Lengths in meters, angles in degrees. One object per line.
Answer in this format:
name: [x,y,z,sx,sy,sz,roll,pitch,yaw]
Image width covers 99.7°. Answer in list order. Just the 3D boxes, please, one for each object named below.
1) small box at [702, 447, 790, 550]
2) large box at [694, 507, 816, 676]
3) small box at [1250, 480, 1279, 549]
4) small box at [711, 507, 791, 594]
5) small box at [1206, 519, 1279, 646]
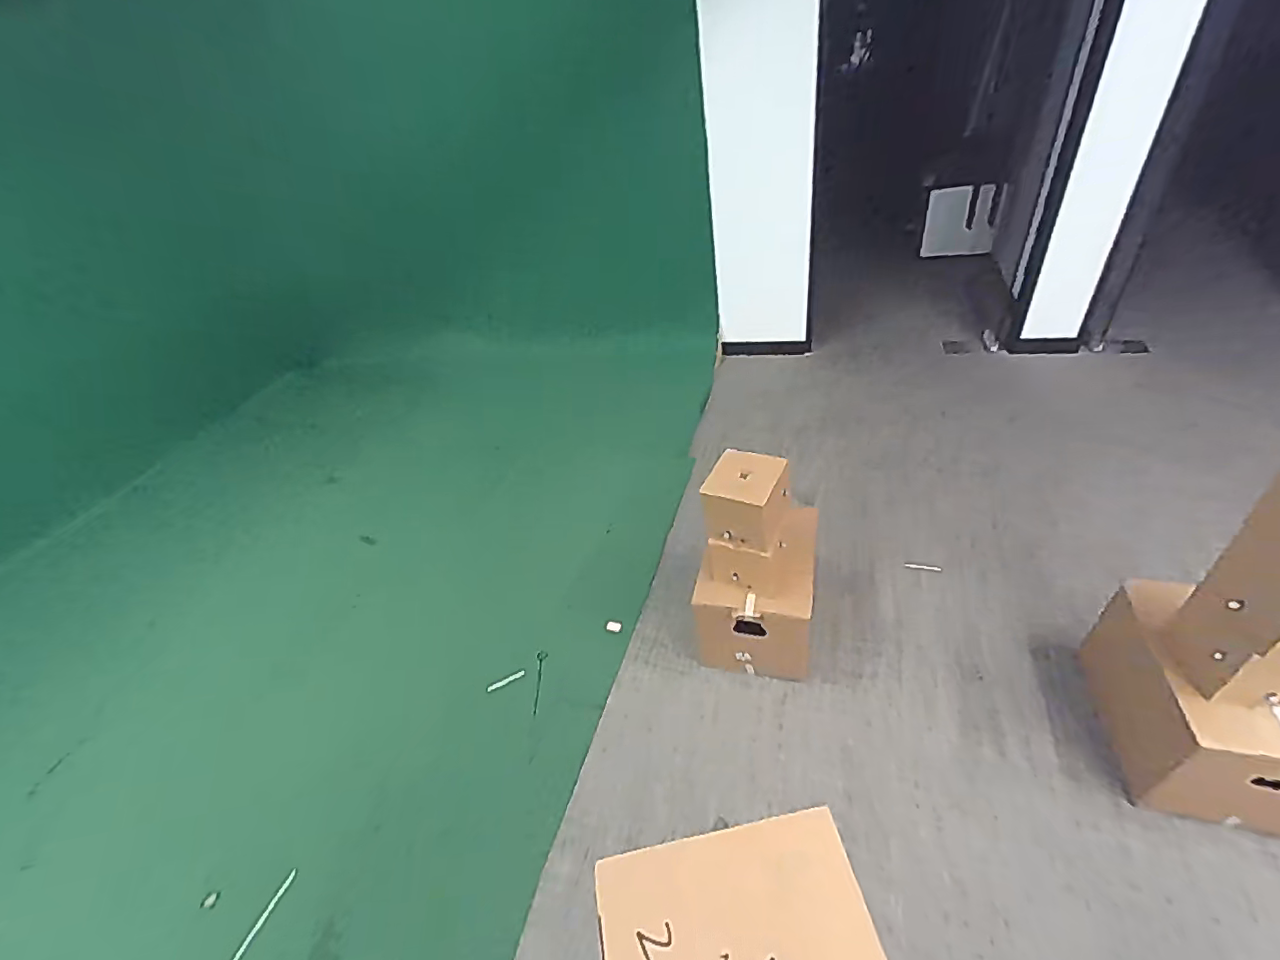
small box: [0.271,0.046,1.360,0.168,0.176,0.179,13,47,30]
large box: [0.366,0.324,1.644,0.320,0.320,0.408,3,41,18]
small box: [1.153,0.059,0.854,0.168,0.176,0.179,-4,41,12]
small box: [0.303,0.175,1.455,0.168,0.176,0.179,10,45,27]
small box: [1.184,0.184,0.957,0.168,0.176,0.179,-3,41,13]
